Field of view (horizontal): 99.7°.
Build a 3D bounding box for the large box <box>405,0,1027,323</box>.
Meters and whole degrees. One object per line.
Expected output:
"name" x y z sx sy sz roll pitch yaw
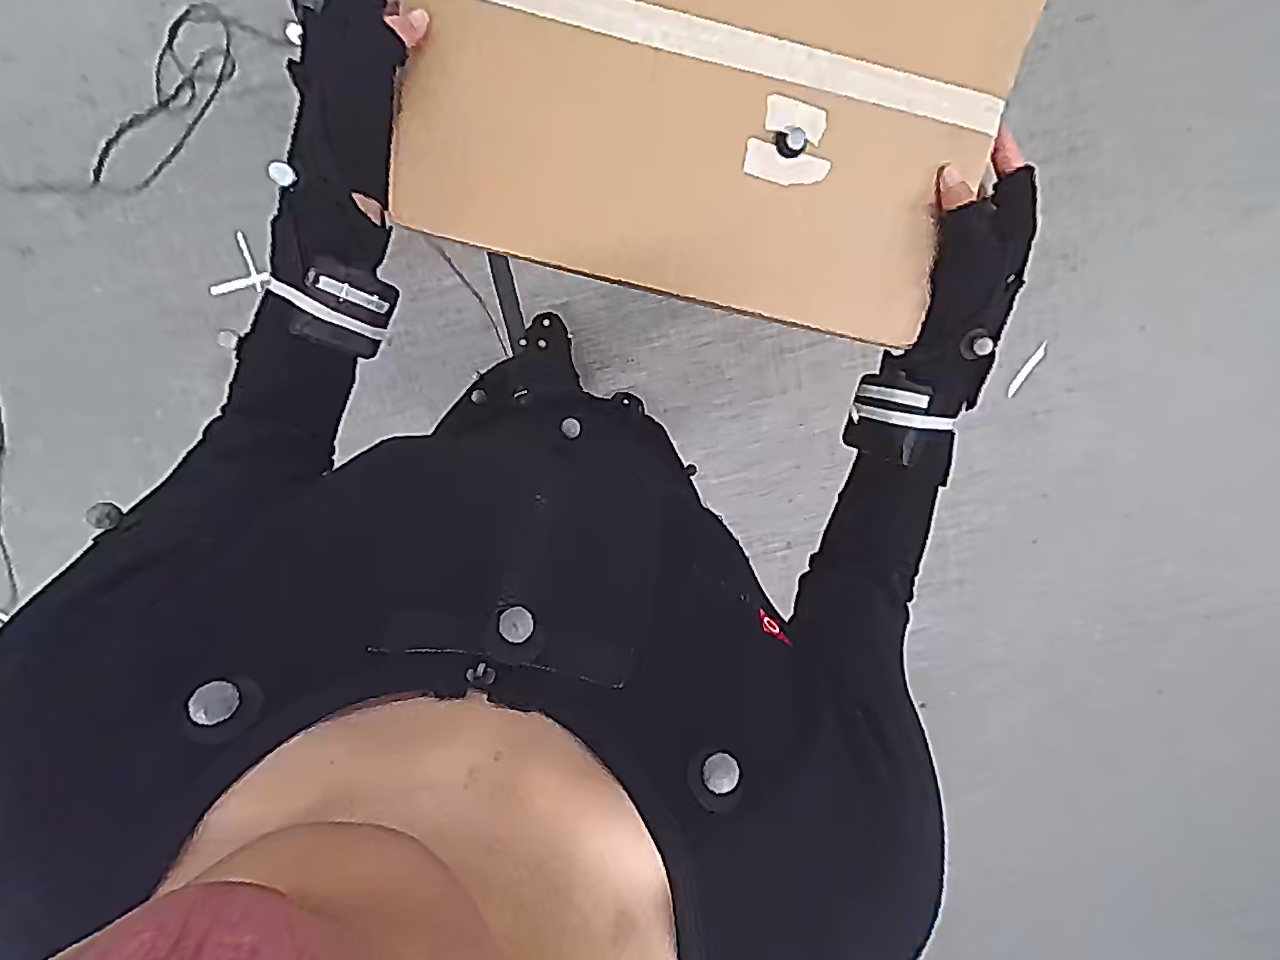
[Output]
"large box" 0.045 -0.345 0.503 0.408 0.320 0.320 11 109 -4
